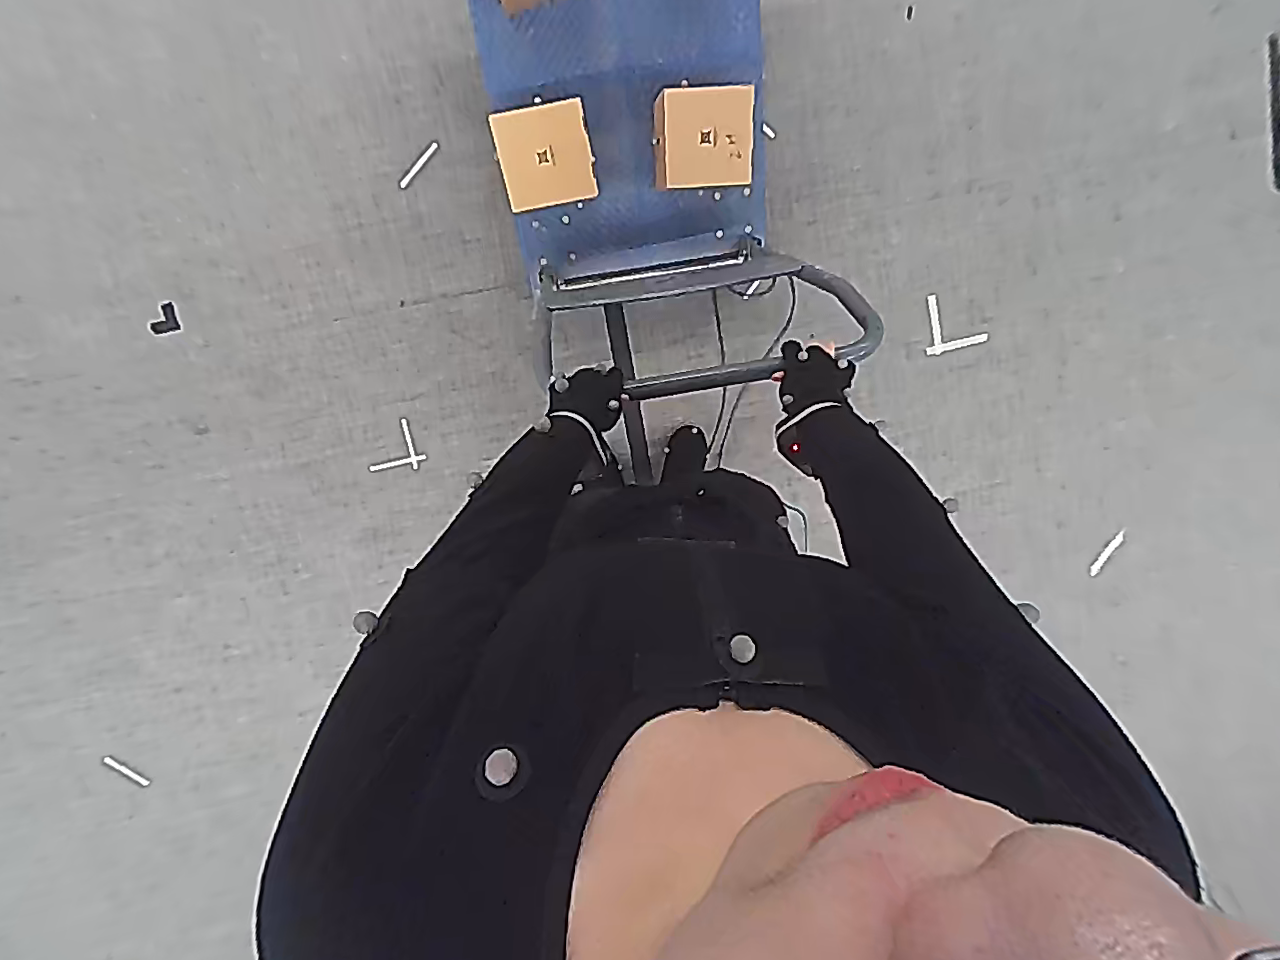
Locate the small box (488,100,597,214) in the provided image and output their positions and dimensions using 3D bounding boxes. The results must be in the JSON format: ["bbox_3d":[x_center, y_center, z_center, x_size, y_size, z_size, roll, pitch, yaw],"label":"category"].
[{"bbox_3d":[-0.191,-0.645,1.098,0.179,0.176,0.168,-13,117,-2],"label":"small box"}]

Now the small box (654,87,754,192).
[{"bbox_3d":[0.123,-0.691,1.112,0.179,0.176,0.168,-5,117,-4],"label":"small box"}]
